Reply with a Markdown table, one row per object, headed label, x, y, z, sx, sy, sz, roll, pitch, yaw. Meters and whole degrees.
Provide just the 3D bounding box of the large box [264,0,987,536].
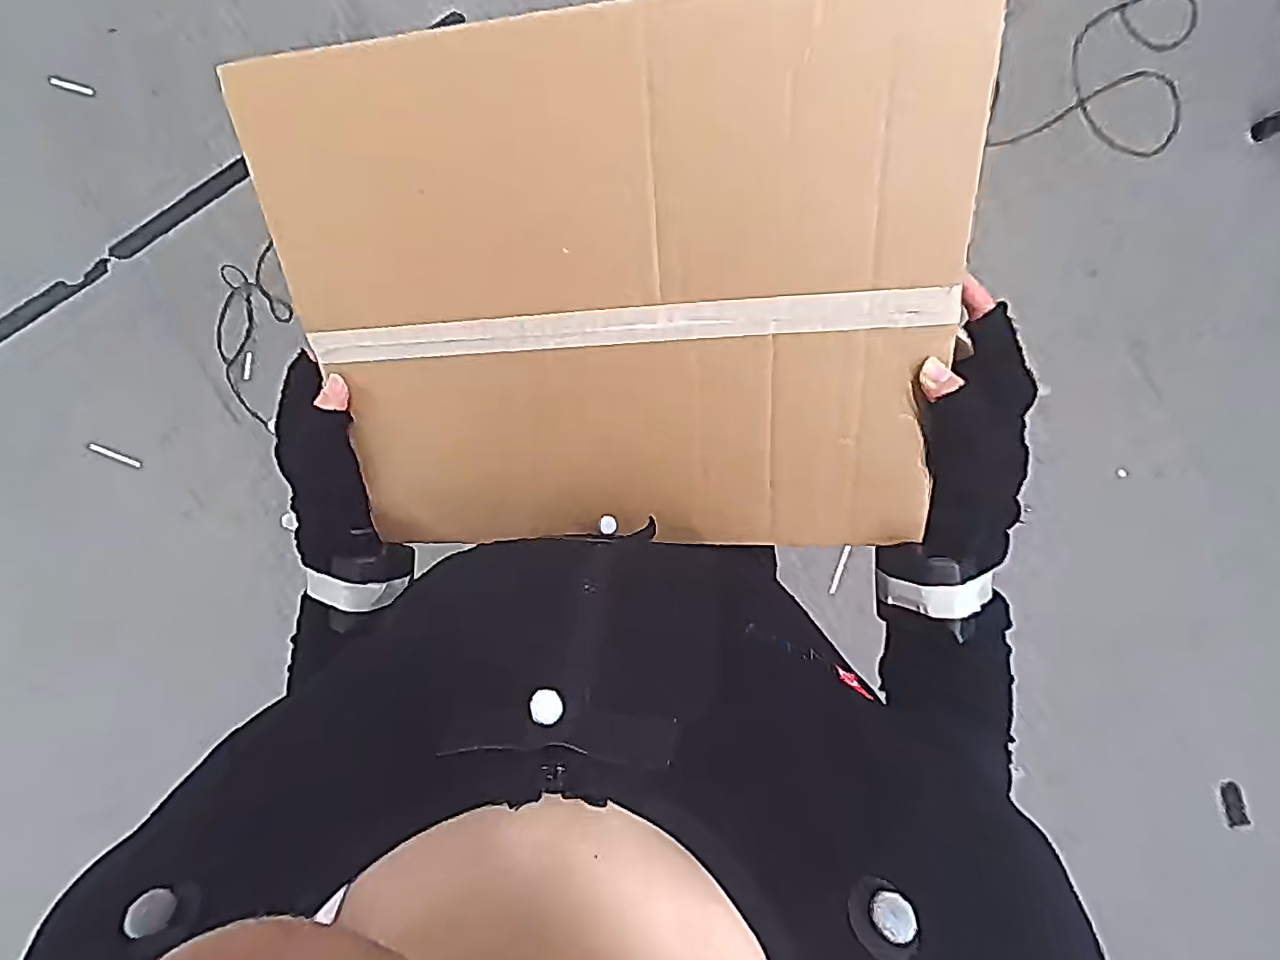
| label | x | y | z | sx | sy | sz | roll | pitch | yaw |
| --- | --- | --- | --- | --- | --- | --- | --- | --- | --- |
| large box | 0.003 | -0.161 | 0.481 | 0.408 | 0.320 | 0.320 | -1 | 117 | 9 |
